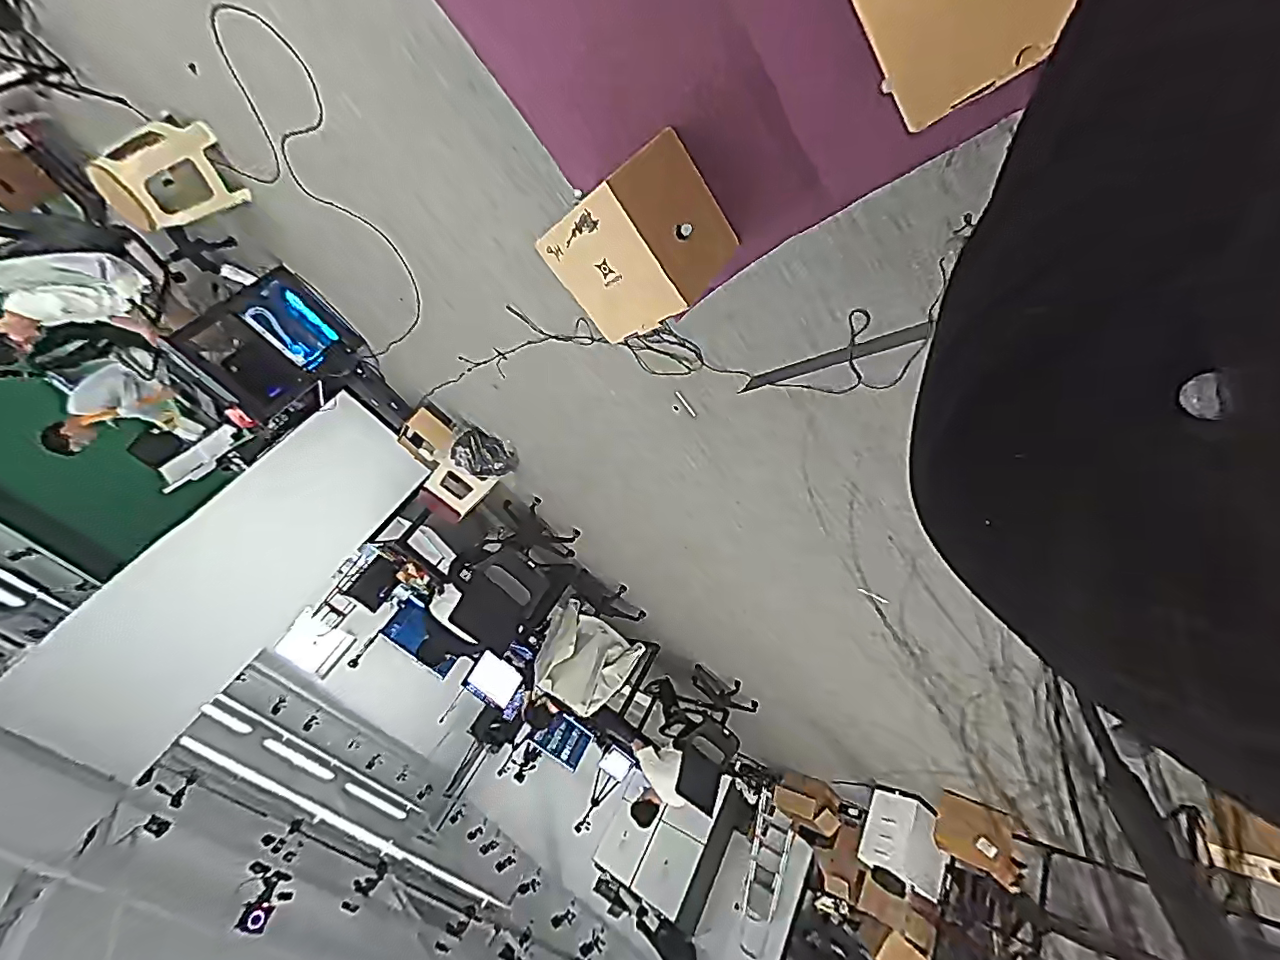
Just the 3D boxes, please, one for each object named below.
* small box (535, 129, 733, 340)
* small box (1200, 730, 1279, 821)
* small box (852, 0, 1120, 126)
[{"bbox_3d":[-0.001,-0.330,0.742,0.168,0.176,0.179,-9,130,49],"label":"small box"},{"bbox_3d":[1.816,0.879,1.618,0.179,0.176,0.168,-10,128,51],"label":"small box"},{"bbox_3d":[0.255,-0.409,0.383,0.168,0.176,0.179,-11,127,51],"label":"small box"}]
